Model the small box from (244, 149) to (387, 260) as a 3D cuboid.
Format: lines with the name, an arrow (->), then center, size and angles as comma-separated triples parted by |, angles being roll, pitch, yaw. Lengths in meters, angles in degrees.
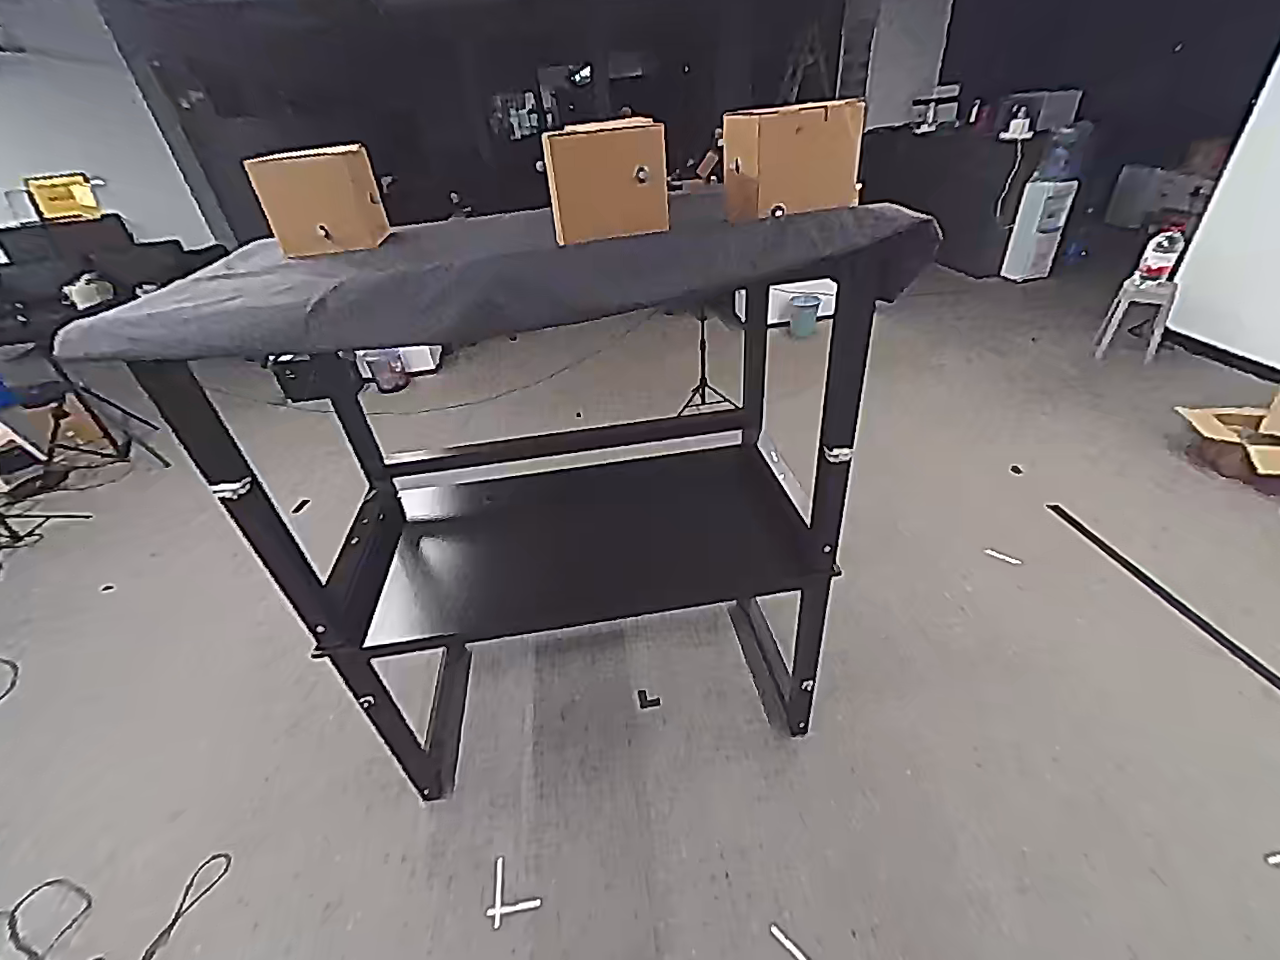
small box -> -0.631, -0.552, 1.081 | 0.179, 0.176, 0.168 | -9, 35, -6

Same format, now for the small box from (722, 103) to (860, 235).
small box -> 0.242, -0.517, 0.904 | 0.168, 0.176, 0.179 | -10, 34, -6

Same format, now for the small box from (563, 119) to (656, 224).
small box -> -0.063, -0.644, 1.132 | 0.168, 0.176, 0.179 | -9, 35, -4
